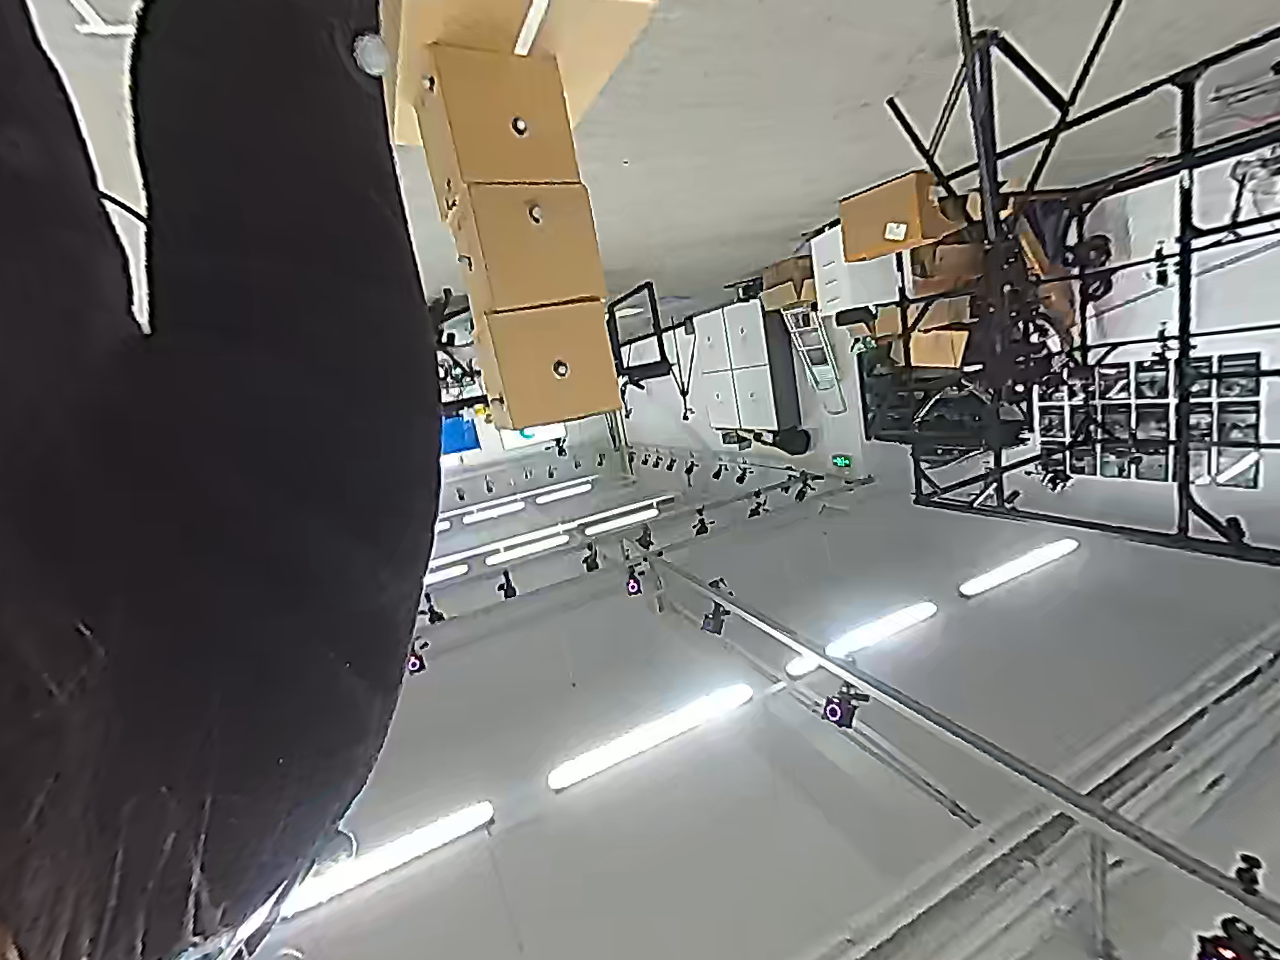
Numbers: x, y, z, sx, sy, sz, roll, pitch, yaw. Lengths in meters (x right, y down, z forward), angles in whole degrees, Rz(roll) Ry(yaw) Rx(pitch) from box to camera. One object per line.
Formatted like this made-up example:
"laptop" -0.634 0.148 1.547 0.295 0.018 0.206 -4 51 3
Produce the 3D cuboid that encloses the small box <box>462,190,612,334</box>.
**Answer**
"small box" -0.167 -0.335 0.842 0.179 0.176 0.168 -15 -168 -24

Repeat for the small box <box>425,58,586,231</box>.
"small box" -0.207 -0.490 0.807 0.179 0.176 0.168 -17 -168 -26
